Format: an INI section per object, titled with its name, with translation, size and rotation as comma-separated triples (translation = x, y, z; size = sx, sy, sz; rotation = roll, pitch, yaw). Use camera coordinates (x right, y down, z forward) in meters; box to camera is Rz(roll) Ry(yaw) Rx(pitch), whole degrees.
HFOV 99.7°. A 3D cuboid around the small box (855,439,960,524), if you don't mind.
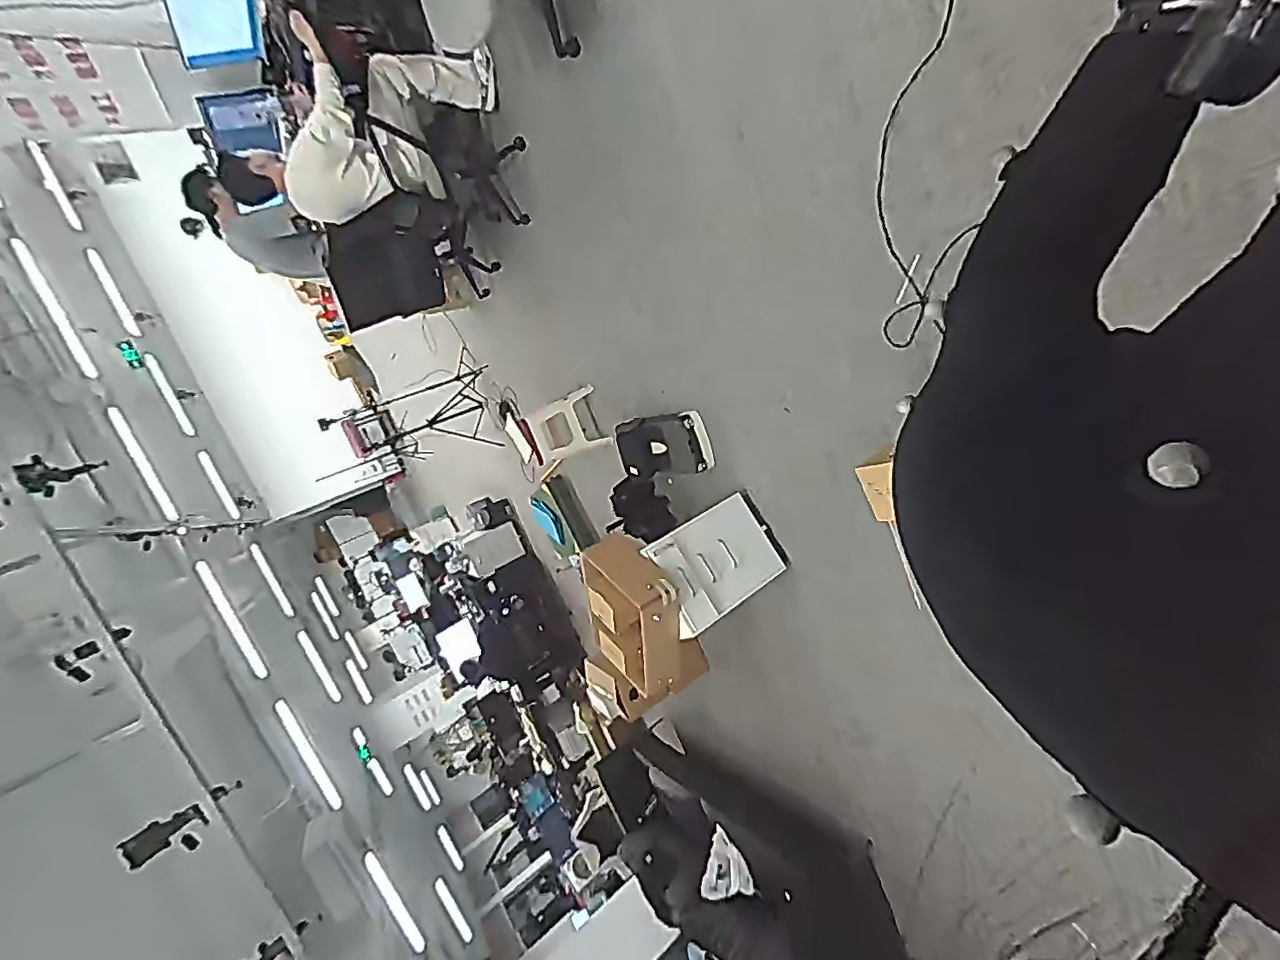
[small box]
translation = 0.723, 0.004, 1.450
size = 0.179, 0.176, 0.168
rotation = -15, 101, 62
